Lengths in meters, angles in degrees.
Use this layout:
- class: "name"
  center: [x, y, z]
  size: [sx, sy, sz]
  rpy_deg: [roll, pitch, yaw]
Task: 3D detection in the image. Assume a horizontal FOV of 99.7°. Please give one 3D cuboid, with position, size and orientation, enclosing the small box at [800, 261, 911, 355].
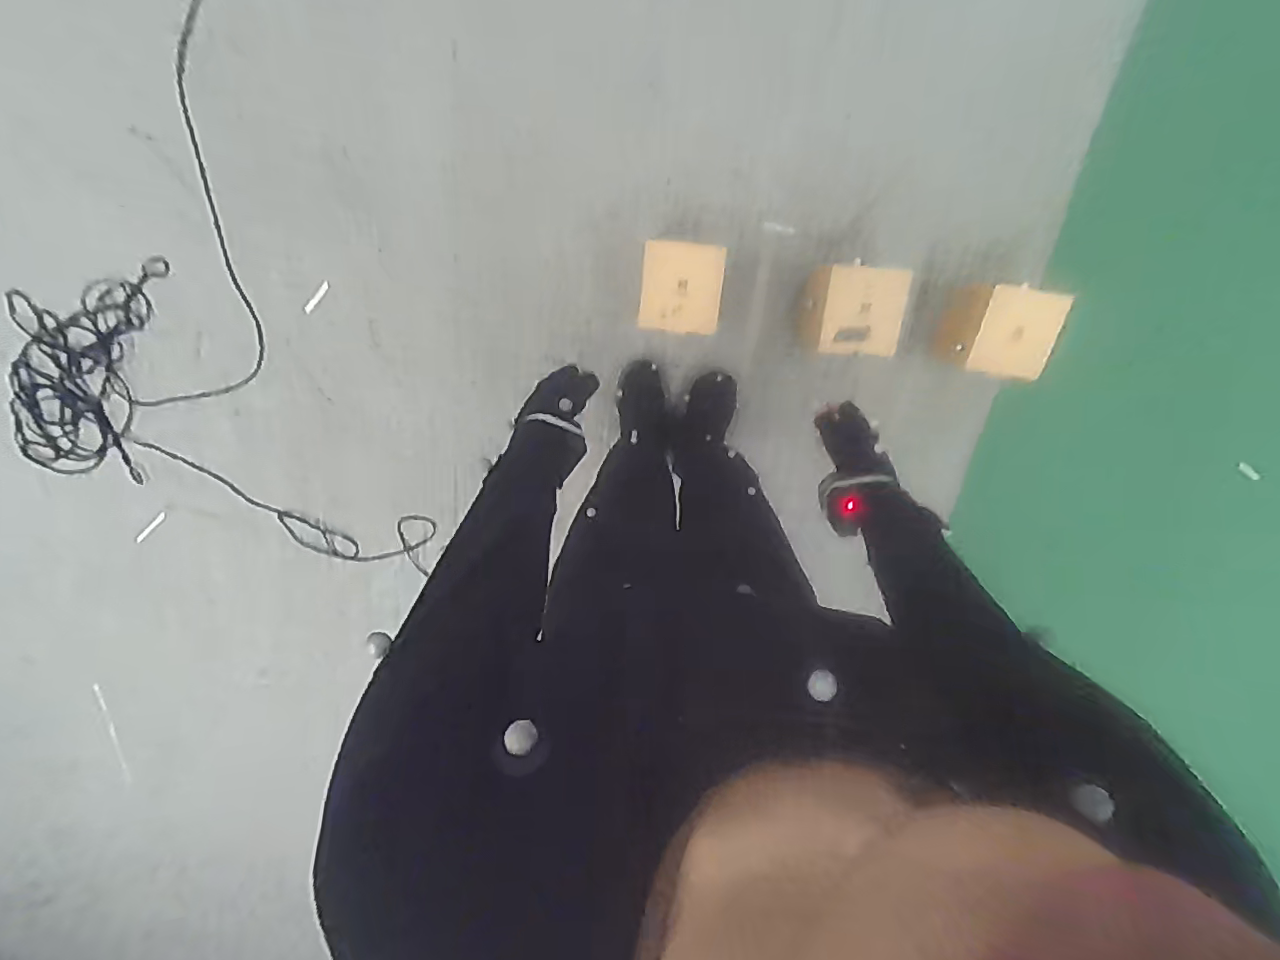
- class: "small box"
  center: [0.459, -0.380, 1.186]
  size: [0.168, 0.176, 0.179]
  rpy_deg: [4, 111, 0]

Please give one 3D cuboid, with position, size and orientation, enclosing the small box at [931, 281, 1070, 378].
- class: "small box"
  center: [0.781, -0.338, 1.195]
  size: [0.168, 0.176, 0.179]
  rpy_deg: [9, 112, -1]

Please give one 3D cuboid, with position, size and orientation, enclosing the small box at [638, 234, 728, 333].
- class: "small box"
  center: [0.088, -0.427, 1.175]
  size: [0.168, 0.176, 0.179]
  rpy_deg: [6, 113, 0]
